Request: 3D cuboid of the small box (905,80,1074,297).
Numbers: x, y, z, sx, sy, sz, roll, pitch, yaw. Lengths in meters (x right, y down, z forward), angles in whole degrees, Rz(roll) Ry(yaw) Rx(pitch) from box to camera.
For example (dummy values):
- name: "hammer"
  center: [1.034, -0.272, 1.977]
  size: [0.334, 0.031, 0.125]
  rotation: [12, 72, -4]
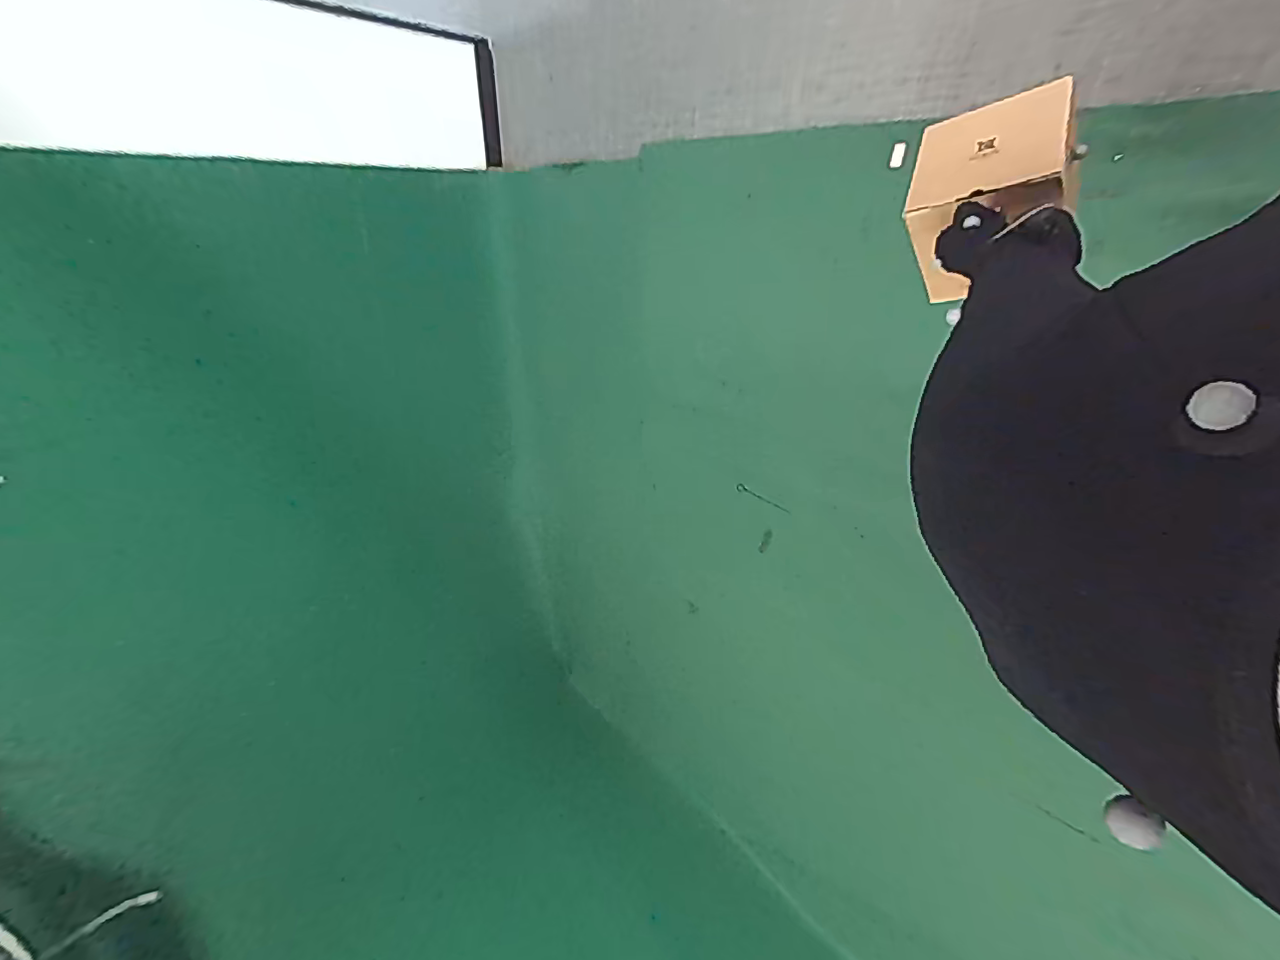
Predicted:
- name: "small box"
  center: [0.484, -0.384, 0.743]
  size: [0.168, 0.179, 0.176]
  rotation: [4, 154, 41]
